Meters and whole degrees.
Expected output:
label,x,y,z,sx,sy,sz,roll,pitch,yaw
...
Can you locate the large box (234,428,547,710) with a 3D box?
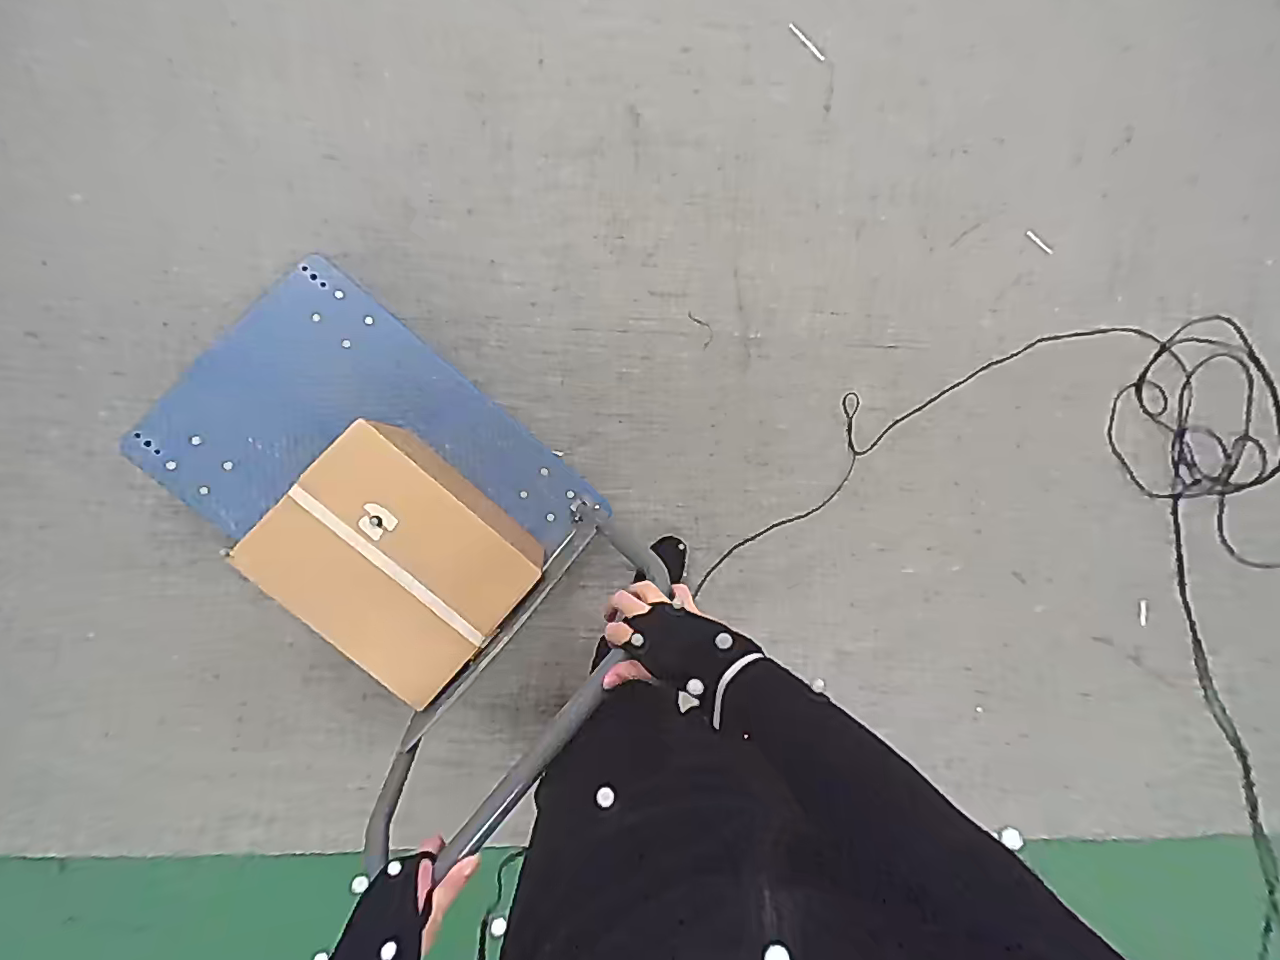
label,x,y,z,sx,sy,sz,roll,pitch,yaw
large box,-0.433,0.153,1.056,0.408,0.320,0.320,41,83,-6
